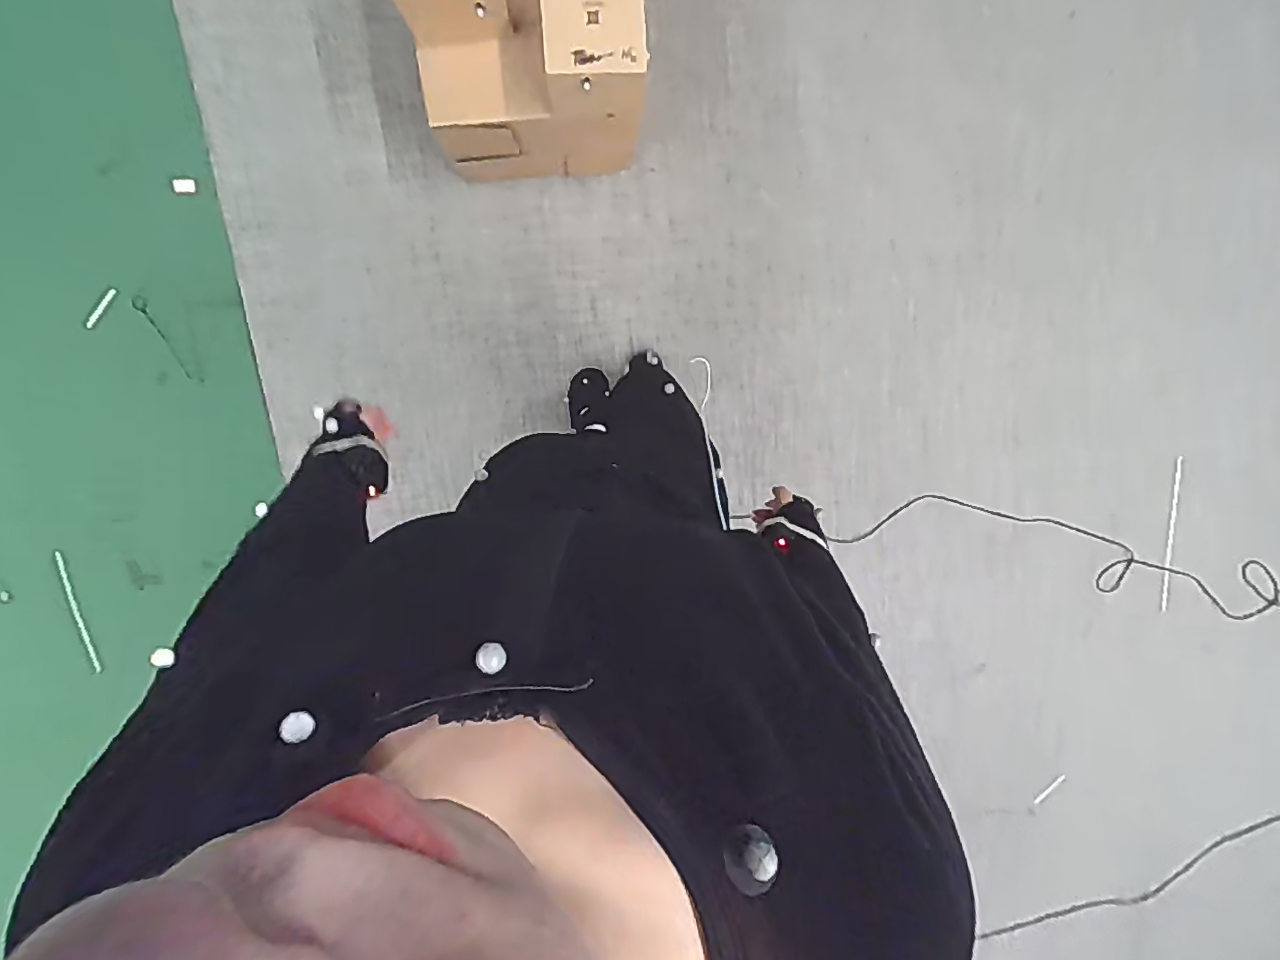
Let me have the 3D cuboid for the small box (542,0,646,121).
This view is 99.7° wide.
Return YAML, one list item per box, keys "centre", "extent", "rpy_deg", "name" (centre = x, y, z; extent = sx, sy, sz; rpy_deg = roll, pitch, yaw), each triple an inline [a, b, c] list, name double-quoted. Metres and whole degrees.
- centre: [-0.078, -0.754, 0.929]
  extent: [0.168, 0.176, 0.179]
  rpy_deg: [-2, 101, -3]
  name: "small box"

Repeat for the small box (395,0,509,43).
- centre: [-0.323, -0.871, 0.896]
  extent: [0.179, 0.176, 0.168]
  rpy_deg: [-8, 101, 0]
  name: "small box"
